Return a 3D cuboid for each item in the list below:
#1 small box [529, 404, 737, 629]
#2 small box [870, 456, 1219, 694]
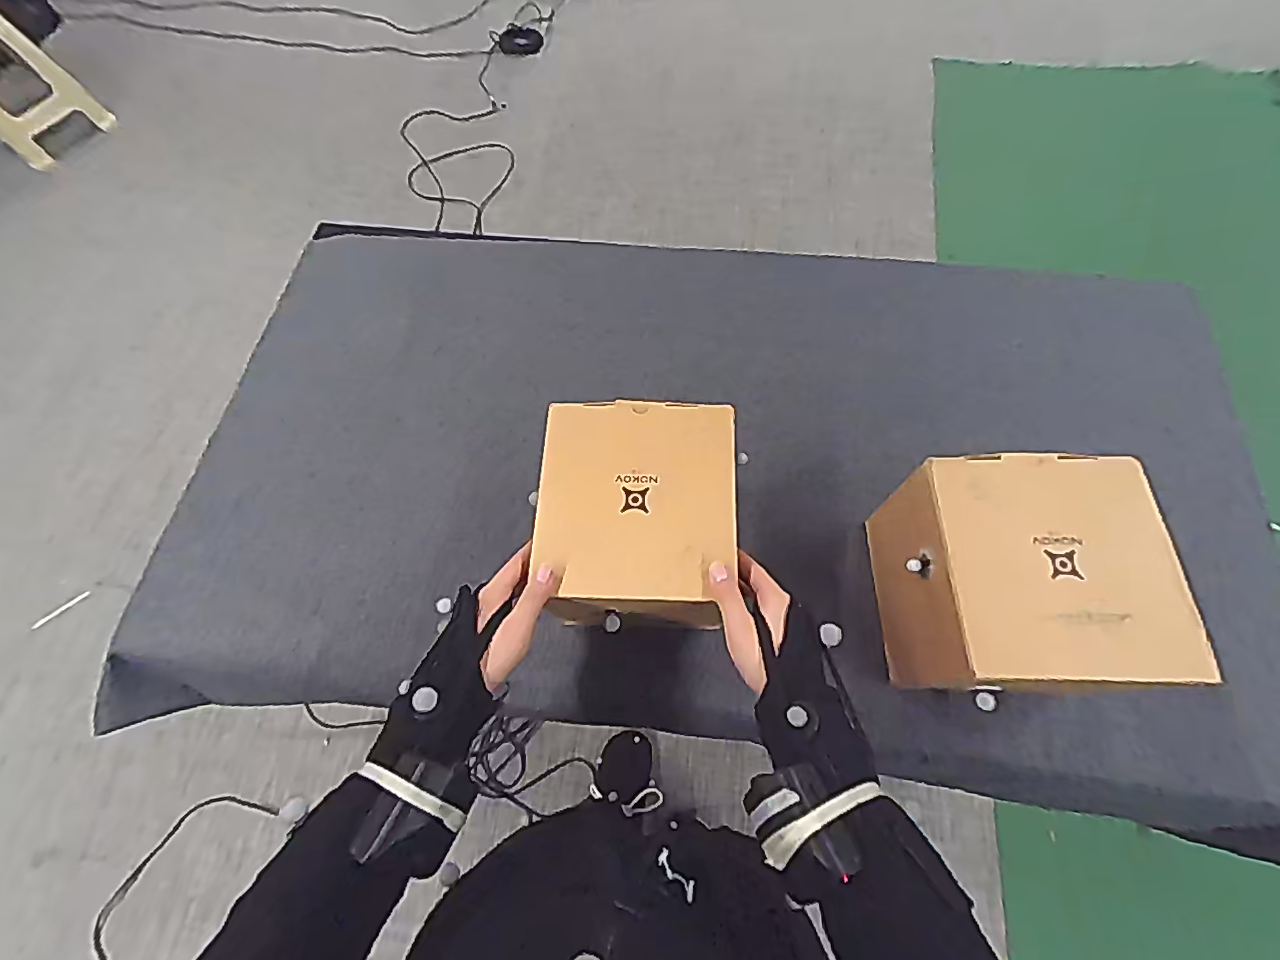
[{"bbox_3d":[0.002,0.044,0.518,0.168,0.176,0.179,1,67,3],"label":"small box"},{"bbox_3d":[0.323,0.092,0.483,0.168,0.176,0.179,-1,67,4],"label":"small box"}]
